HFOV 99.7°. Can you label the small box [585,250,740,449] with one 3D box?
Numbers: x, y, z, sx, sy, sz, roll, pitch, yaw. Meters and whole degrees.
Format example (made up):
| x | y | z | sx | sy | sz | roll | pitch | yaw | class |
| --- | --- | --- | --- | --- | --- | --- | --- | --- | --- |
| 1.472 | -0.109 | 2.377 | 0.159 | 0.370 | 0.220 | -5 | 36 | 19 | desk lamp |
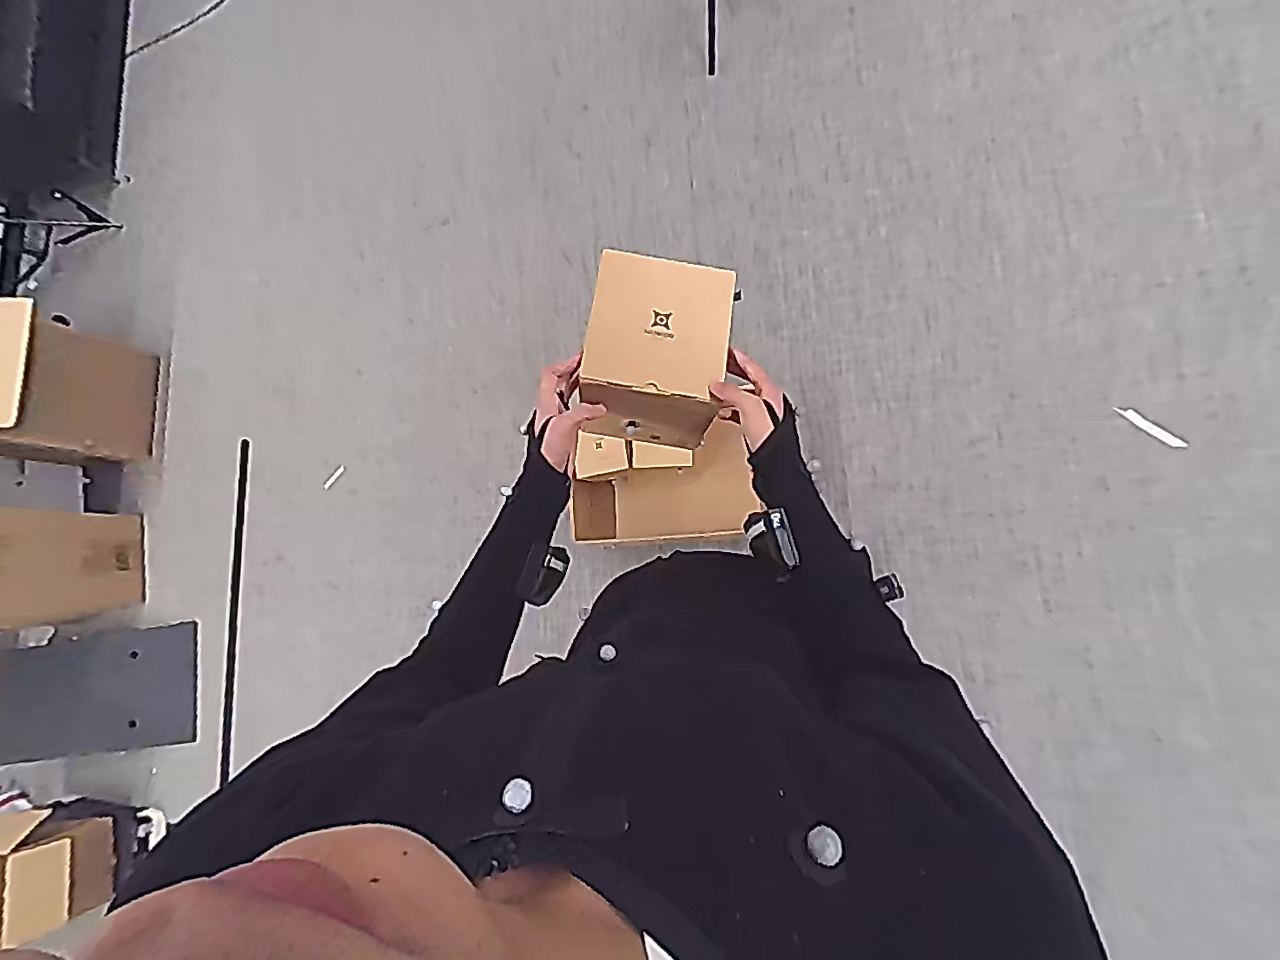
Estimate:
| x | y | z | sx | sy | sz | roll | pitch | yaw | class |
| --- | --- | --- | --- | --- | --- | --- | --- | --- | --- |
| 0.021 | -0.157 | 0.698 | 0.168 | 0.176 | 0.179 | 8 | 75 | -3 | small box |
